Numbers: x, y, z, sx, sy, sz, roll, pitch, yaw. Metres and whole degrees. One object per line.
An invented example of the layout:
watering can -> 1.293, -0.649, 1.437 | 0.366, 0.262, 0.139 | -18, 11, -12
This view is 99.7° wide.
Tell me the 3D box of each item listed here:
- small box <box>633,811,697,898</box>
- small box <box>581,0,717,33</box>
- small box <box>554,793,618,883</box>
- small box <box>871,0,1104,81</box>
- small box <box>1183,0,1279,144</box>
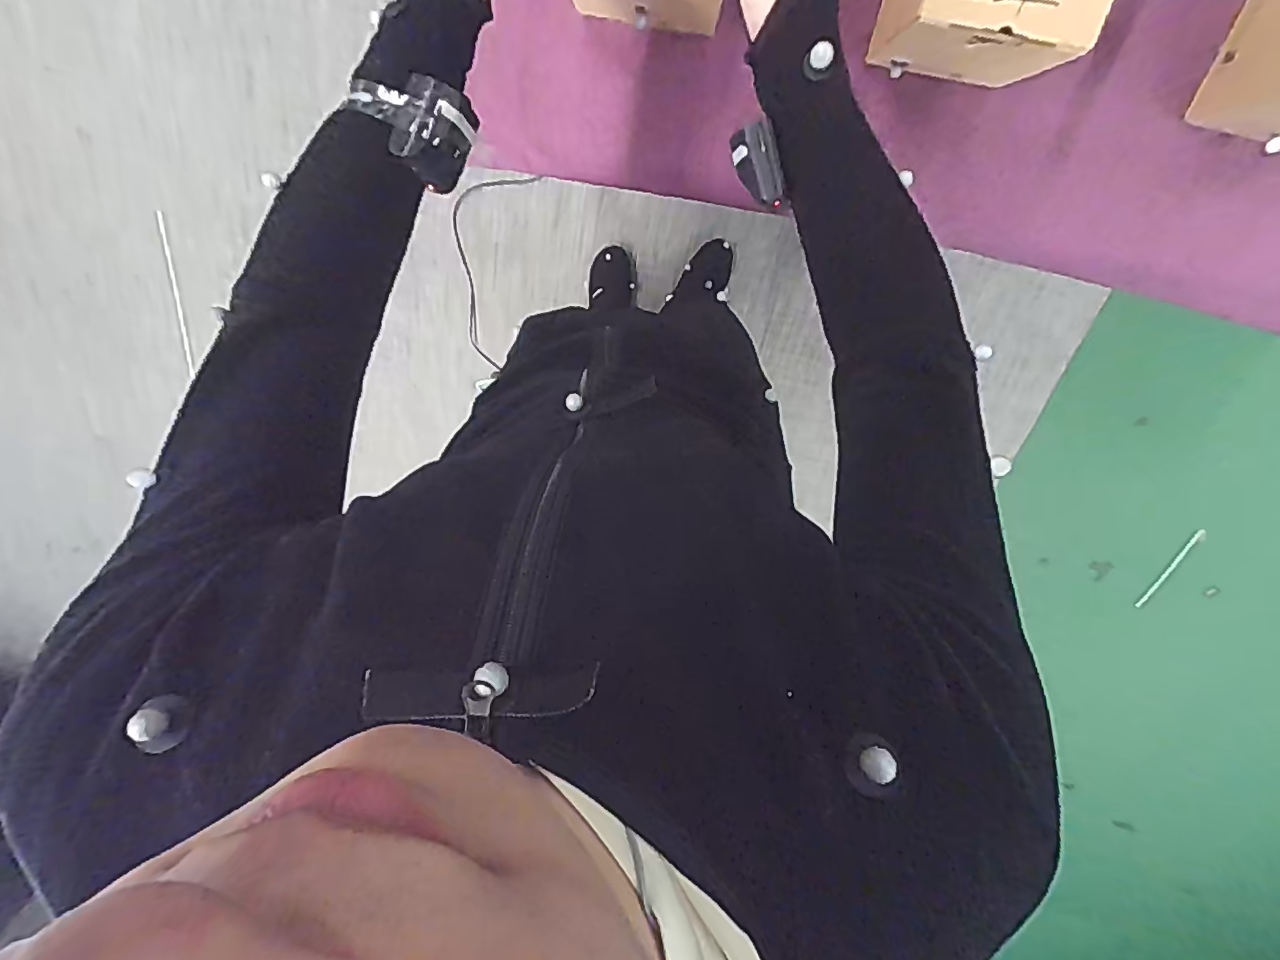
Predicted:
small box -> 0.085, 1.236, 1.793 | 0.179, 0.176, 0.168 | 13, 117, 0
small box -> 0.011, -0.583, 0.530 | 0.168, 0.176, 0.179 | 9, 117, 0
small box -> -0.173, 1.182, 1.789 | 0.168, 0.176, 0.179 | 15, 116, -2
small box -> 0.351, -0.524, 0.534 | 0.168, 0.176, 0.179 | 10, 116, -1
small box -> 0.735, -0.446, 0.540 | 0.179, 0.176, 0.168 | 12, 117, -1
